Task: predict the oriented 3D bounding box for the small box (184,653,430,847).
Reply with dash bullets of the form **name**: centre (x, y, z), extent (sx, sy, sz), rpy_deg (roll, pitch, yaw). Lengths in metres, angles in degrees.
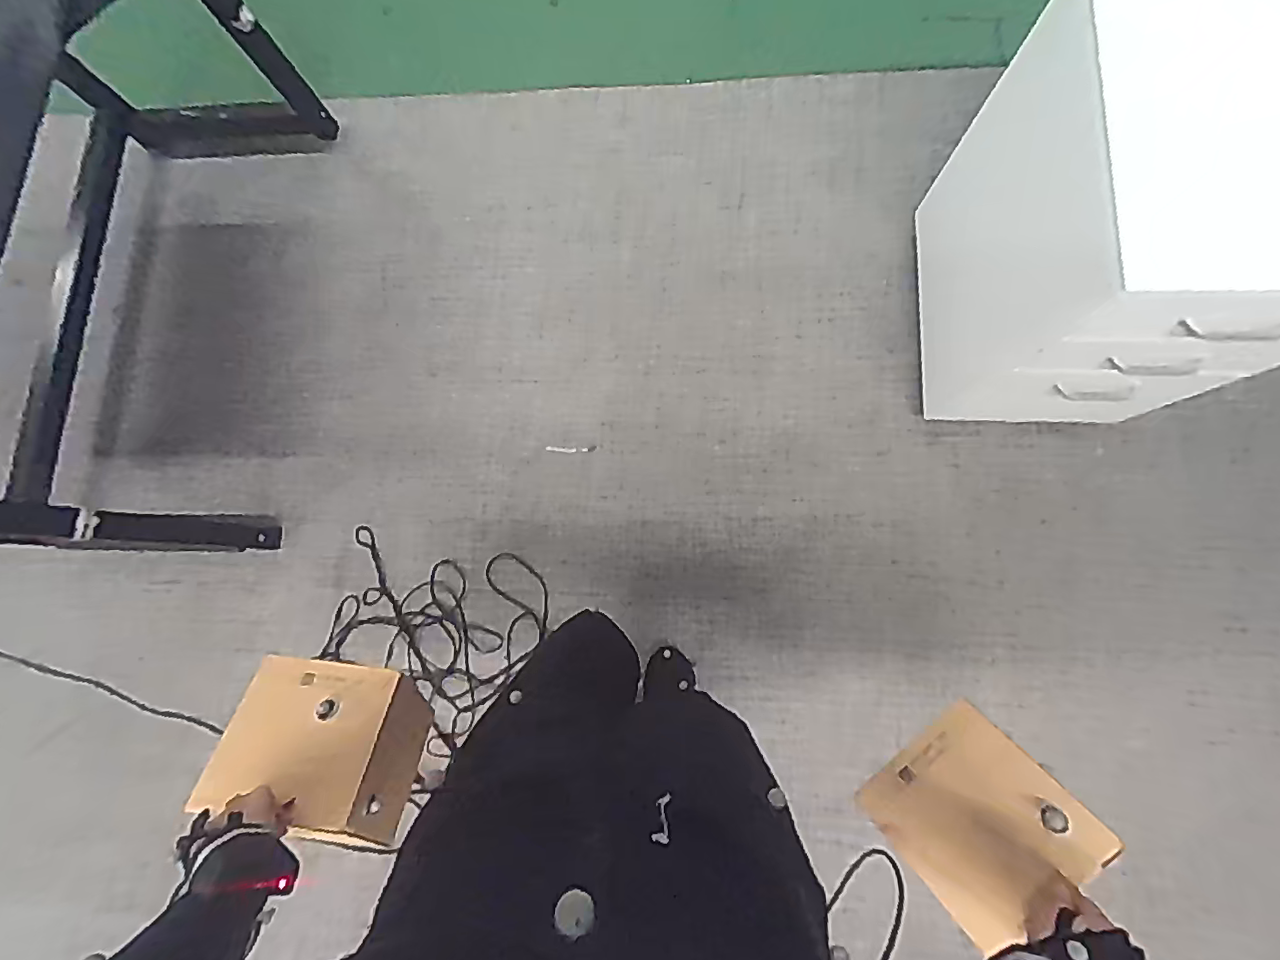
- **small box**: centre (-0.377, 0.330, 0.658), extent (0.168, 0.179, 0.176), rpy_deg (8, 53, 0)
